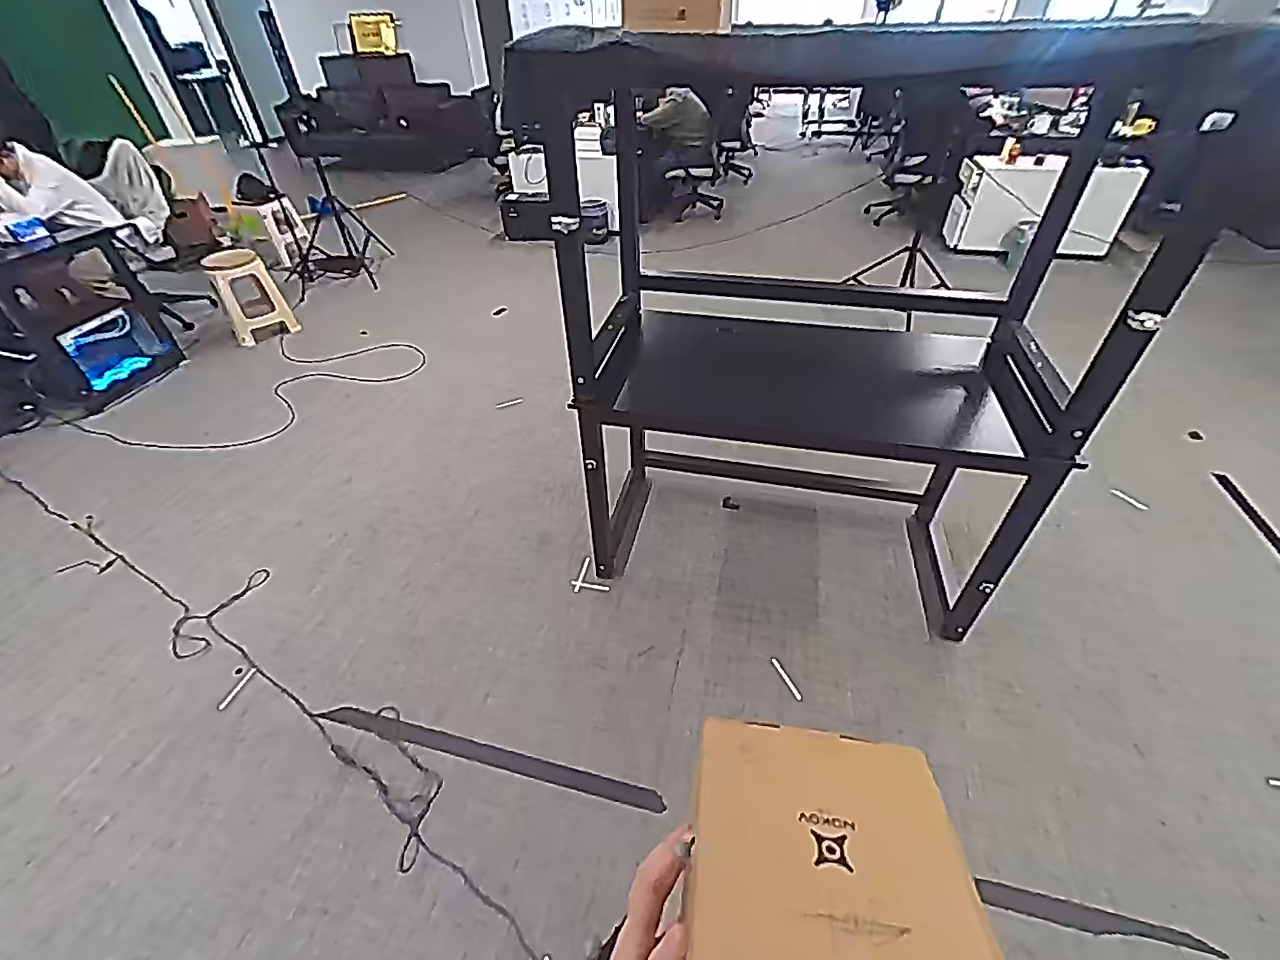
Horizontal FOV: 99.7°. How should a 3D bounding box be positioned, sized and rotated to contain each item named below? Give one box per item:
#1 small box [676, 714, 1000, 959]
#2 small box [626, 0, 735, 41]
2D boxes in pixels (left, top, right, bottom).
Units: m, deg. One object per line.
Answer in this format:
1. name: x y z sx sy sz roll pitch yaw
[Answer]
1. small box: 0.112 0.300 0.370 0.168 0.176 0.179 6 25 6
2. small box: 0.073 -0.851 0.909 0.168 0.176 0.179 10 40 10
